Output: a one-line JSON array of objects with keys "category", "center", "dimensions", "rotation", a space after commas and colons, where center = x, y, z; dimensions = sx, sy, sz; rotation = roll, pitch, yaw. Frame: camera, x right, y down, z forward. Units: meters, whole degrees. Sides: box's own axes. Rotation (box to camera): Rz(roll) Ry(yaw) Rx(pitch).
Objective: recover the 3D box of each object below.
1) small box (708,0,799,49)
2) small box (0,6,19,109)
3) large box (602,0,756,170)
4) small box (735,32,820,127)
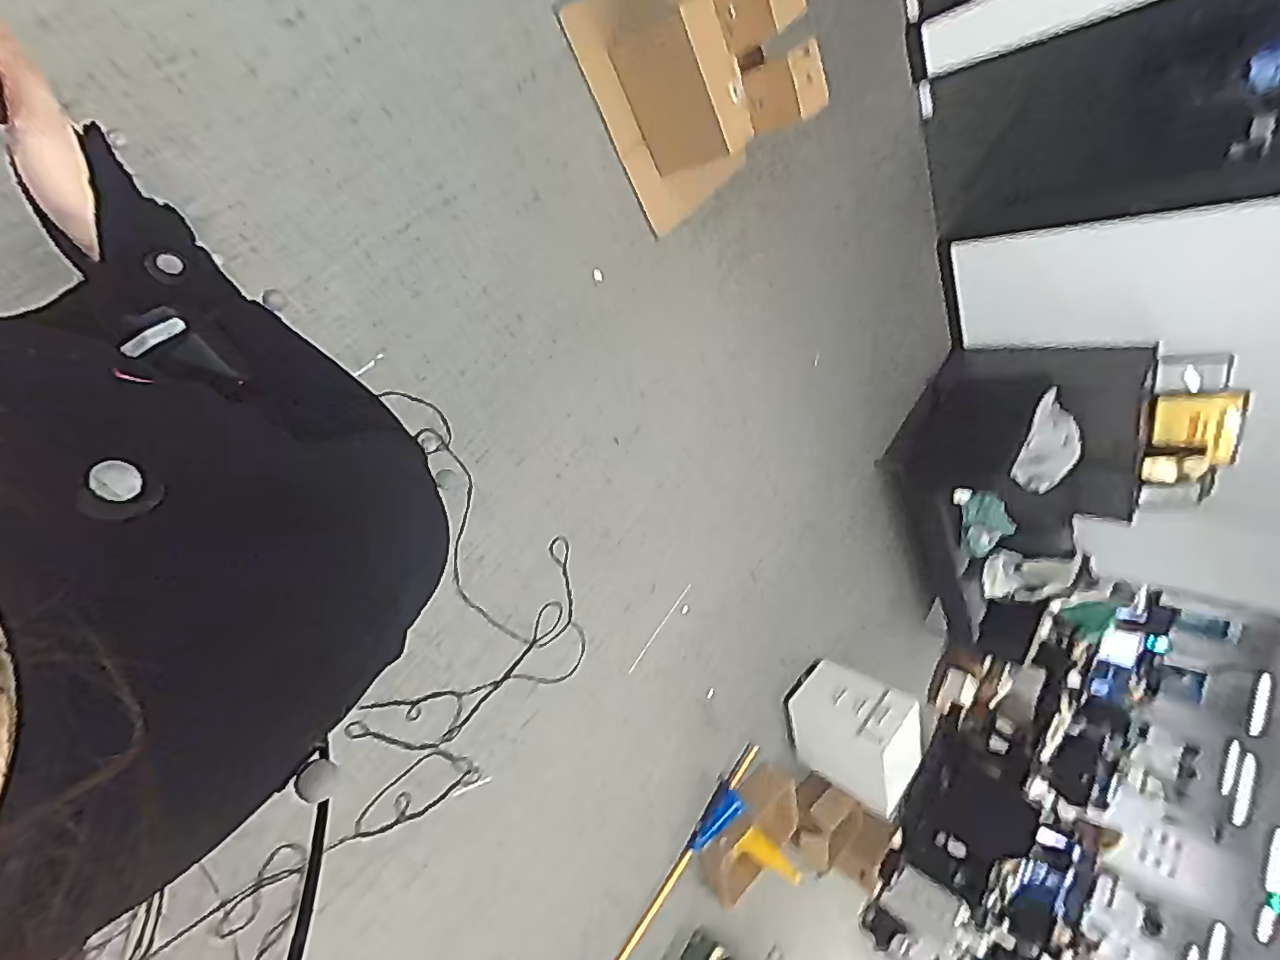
[{"category": "small box", "center": [0.313, -1.365, 1.515], "dimensions": [0.179, 0.176, 0.168], "rotation": [-53, 130, -21]}, {"category": "small box", "center": [-0.426, -0.290, 0.231], "dimensions": [0.168, 0.176, 0.179], "rotation": [-24, 117, -39]}, {"category": "large box", "center": [0.152, -1.291, 1.719], "dimensions": [0.320, 0.320, 0.408], "rotation": [-51, 130, -21]}, {"category": "small box", "center": [0.420, -1.208, 1.648], "dimensions": [0.168, 0.176, 0.179], "rotation": [-47, 127, -25]}]
